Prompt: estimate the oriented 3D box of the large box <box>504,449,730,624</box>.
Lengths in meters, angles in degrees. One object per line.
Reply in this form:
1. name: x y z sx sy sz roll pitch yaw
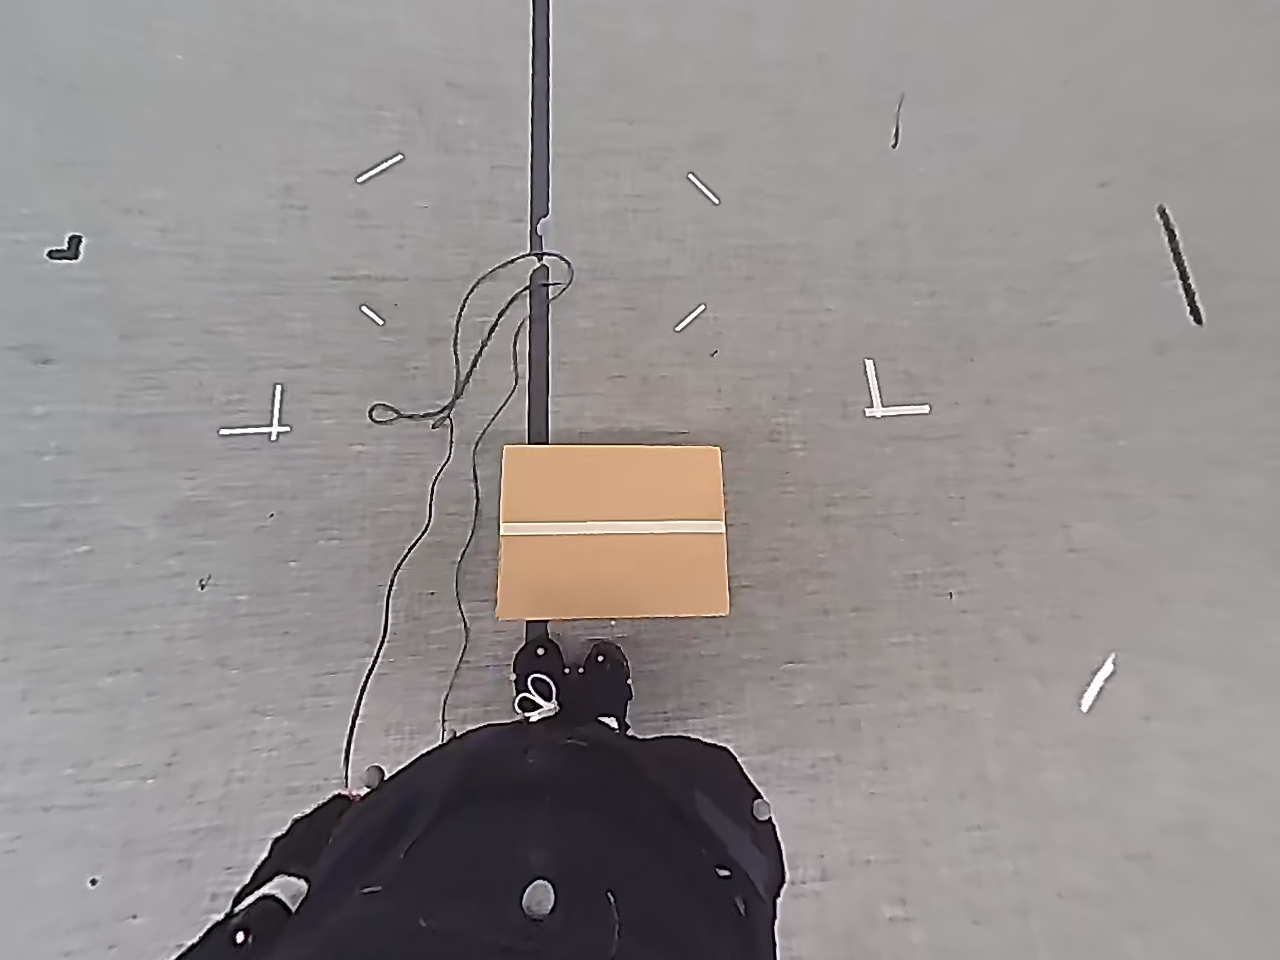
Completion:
1. large box: -0.054 0.126 1.119 0.408 0.320 0.320 0 78 -5
